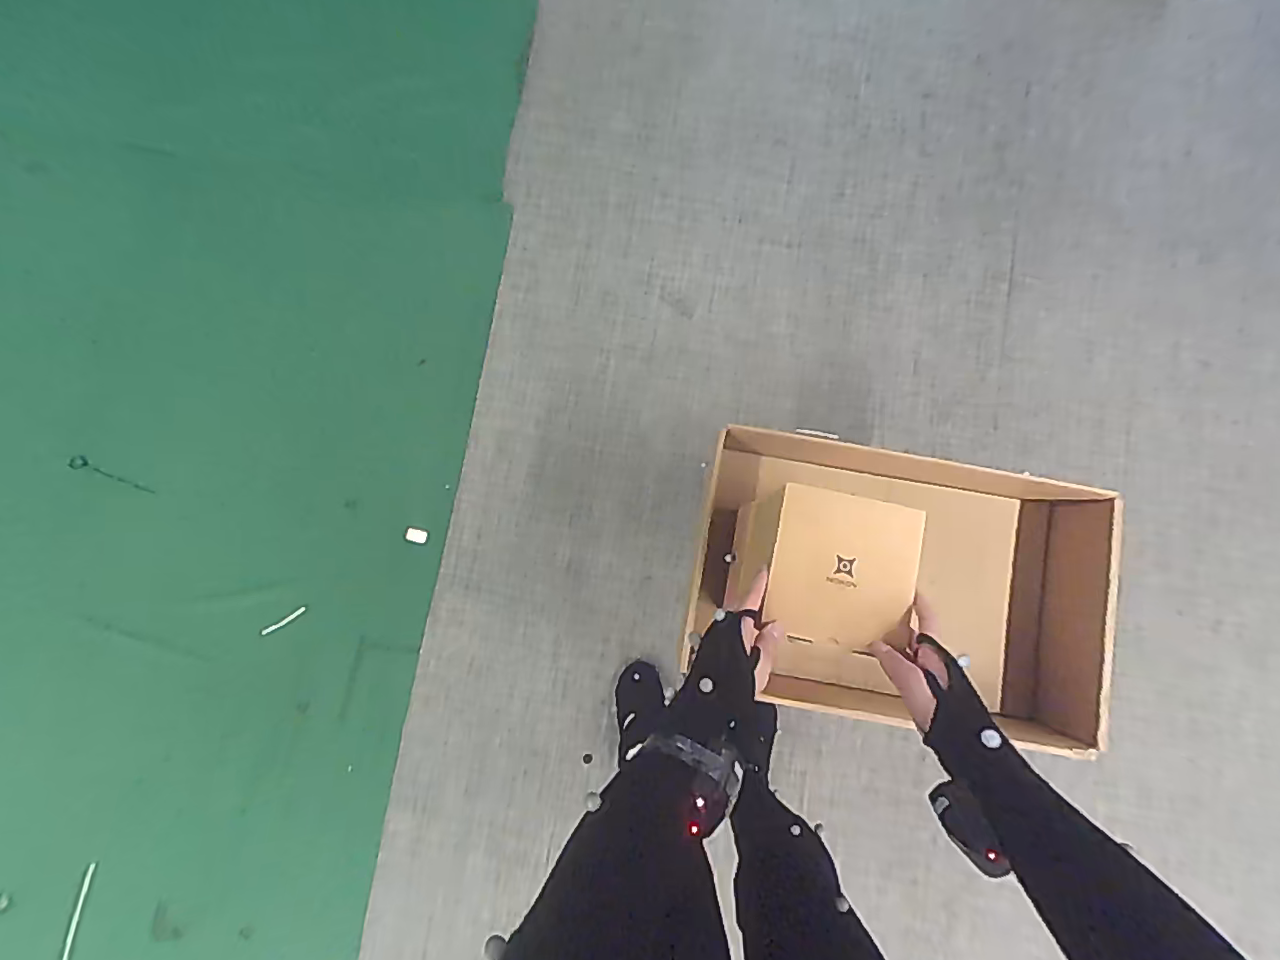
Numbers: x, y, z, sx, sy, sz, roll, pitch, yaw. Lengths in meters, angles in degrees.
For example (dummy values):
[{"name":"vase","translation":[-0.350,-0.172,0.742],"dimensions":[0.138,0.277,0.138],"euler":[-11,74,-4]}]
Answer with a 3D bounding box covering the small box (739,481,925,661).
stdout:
[{"name":"small box","translation":[0.231,0.112,0.690],"dimensions":[0.168,0.176,0.179],"euler":[12,82,2]}]
